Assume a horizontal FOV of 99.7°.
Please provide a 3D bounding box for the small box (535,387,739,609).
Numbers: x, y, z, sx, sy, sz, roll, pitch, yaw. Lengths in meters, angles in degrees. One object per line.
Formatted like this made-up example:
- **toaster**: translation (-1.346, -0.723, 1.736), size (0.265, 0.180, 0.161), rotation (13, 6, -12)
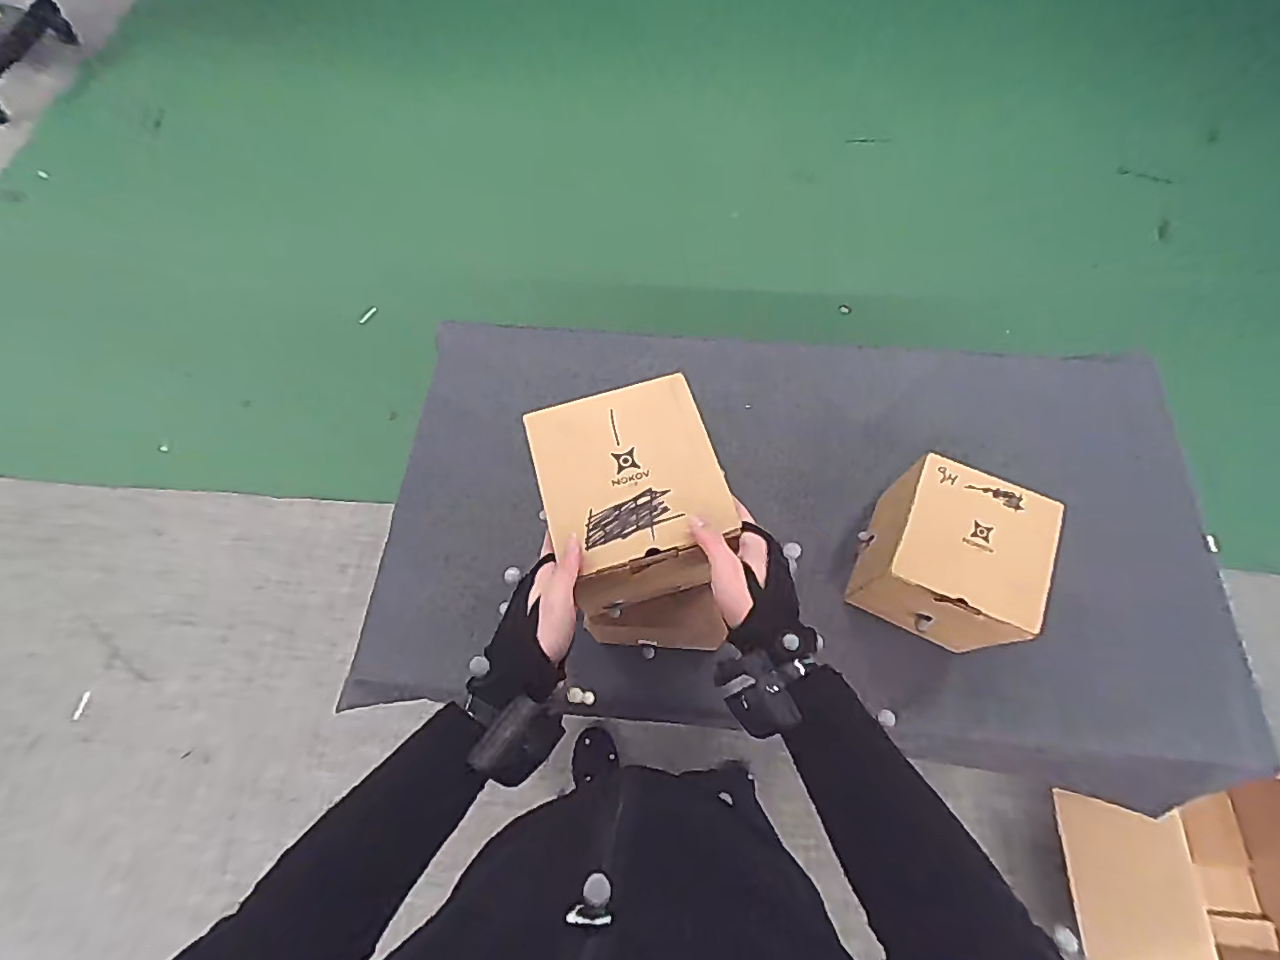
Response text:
- **small box**: translation (-0.004, 0.032, 0.588), size (0.168, 0.176, 0.179), rotation (-14, 65, -5)

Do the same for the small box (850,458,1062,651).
- **small box**: translation (0.397, 0.107, 0.710), size (0.168, 0.176, 0.179), rotation (25, 71, 12)

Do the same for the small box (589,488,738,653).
- **small box**: translation (0.031, 0.118, 0.695), size (0.168, 0.176, 0.179), rotation (2, 67, 3)
